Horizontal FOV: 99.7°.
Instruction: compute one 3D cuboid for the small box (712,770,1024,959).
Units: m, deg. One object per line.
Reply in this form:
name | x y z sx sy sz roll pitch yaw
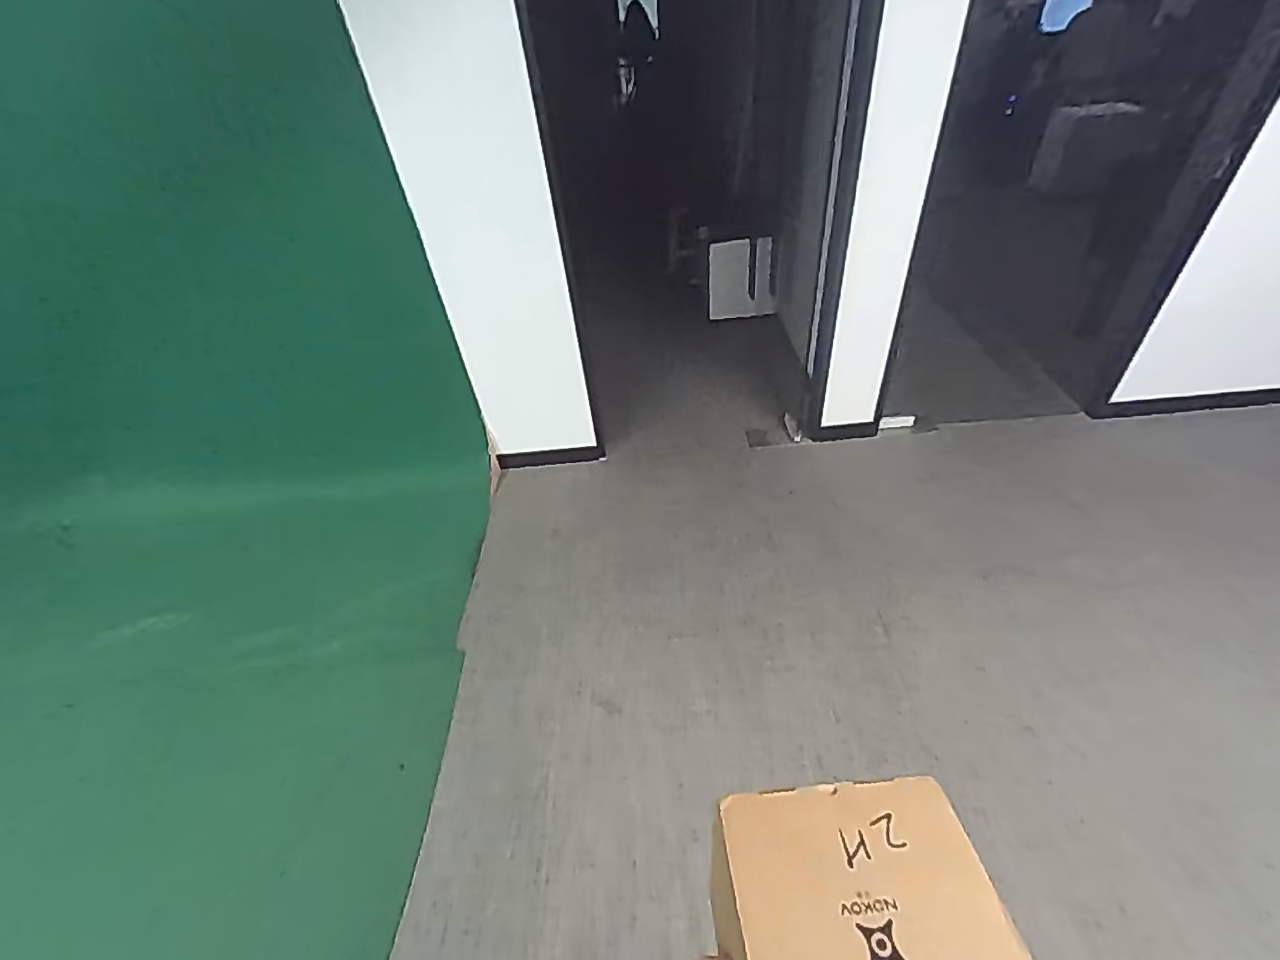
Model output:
small box | 0.146 0.339 0.378 0.168 0.176 0.179 -4 32 -2
